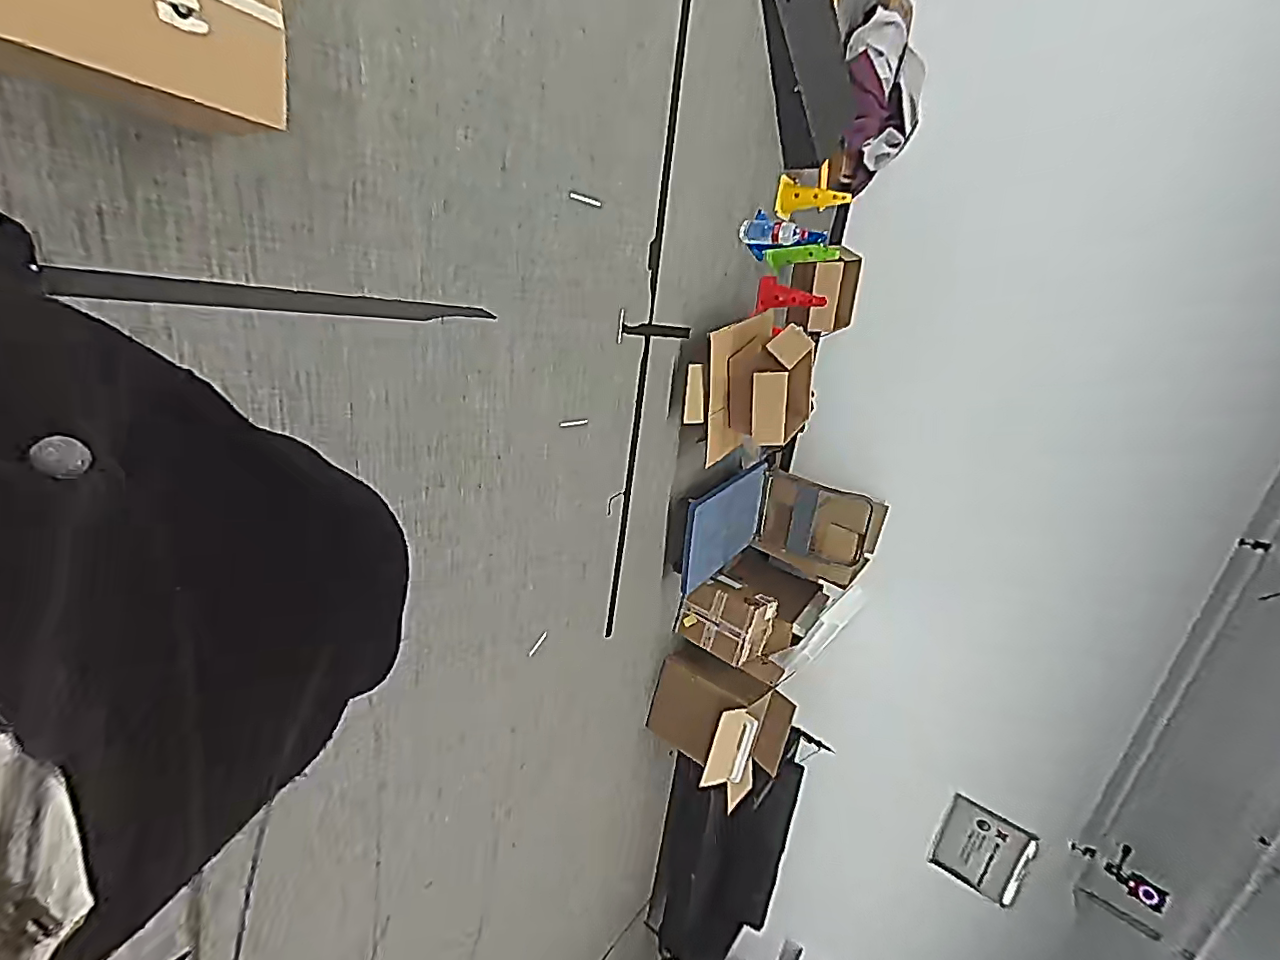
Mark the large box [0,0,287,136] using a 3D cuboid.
[{"bbox_3d":[-0.823,-0.762,0.808,0.408,0.320,0.320,-14,118,-53],"label":"large box"}]
